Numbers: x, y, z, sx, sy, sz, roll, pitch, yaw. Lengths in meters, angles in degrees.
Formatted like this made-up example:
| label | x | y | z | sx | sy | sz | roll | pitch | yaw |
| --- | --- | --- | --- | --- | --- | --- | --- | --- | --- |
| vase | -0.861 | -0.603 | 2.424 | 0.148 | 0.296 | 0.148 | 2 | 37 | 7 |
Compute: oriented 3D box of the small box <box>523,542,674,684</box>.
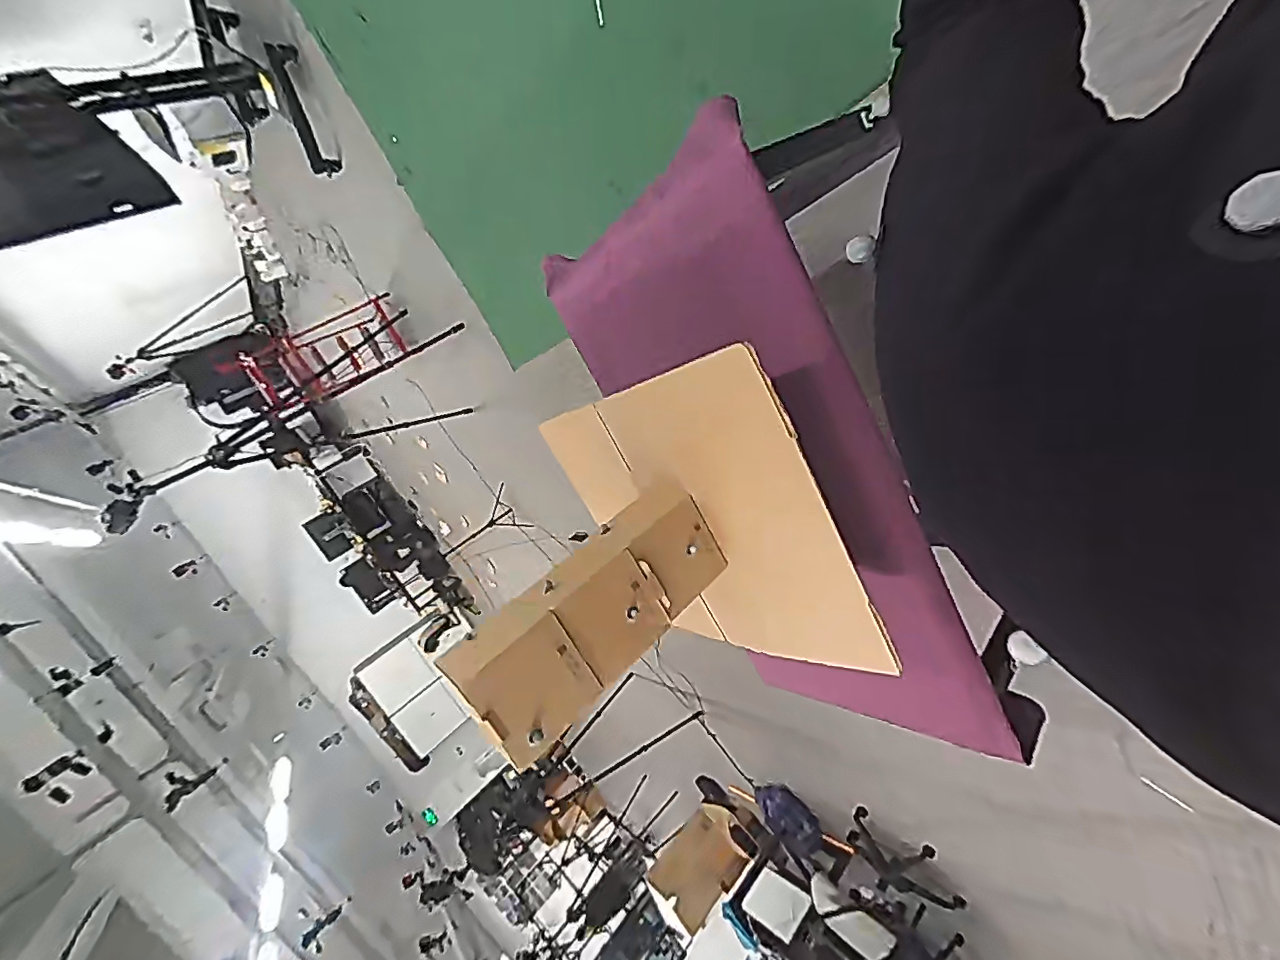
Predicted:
| label | x | y | z | sx | sy | sz | roll | pitch | yaw |
| --- | --- | --- | --- | --- | --- | --- | --- | --- | --- |
| small box | -0.072 | 0.224 | 0.960 | 0.179 | 0.176 | 0.168 | -10 | 114 | 58 |

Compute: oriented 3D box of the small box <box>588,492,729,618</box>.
| label | x | y | z | sx | sy | sz | roll | pitch | yaw |
| --- | --- | --- | --- | --- | --- | --- | --- | --- | --- |
| small box | 0.037 | 0.136 | 1.044 | 0.179 | 0.176 | 0.168 | -6 | 118 | 57 |
